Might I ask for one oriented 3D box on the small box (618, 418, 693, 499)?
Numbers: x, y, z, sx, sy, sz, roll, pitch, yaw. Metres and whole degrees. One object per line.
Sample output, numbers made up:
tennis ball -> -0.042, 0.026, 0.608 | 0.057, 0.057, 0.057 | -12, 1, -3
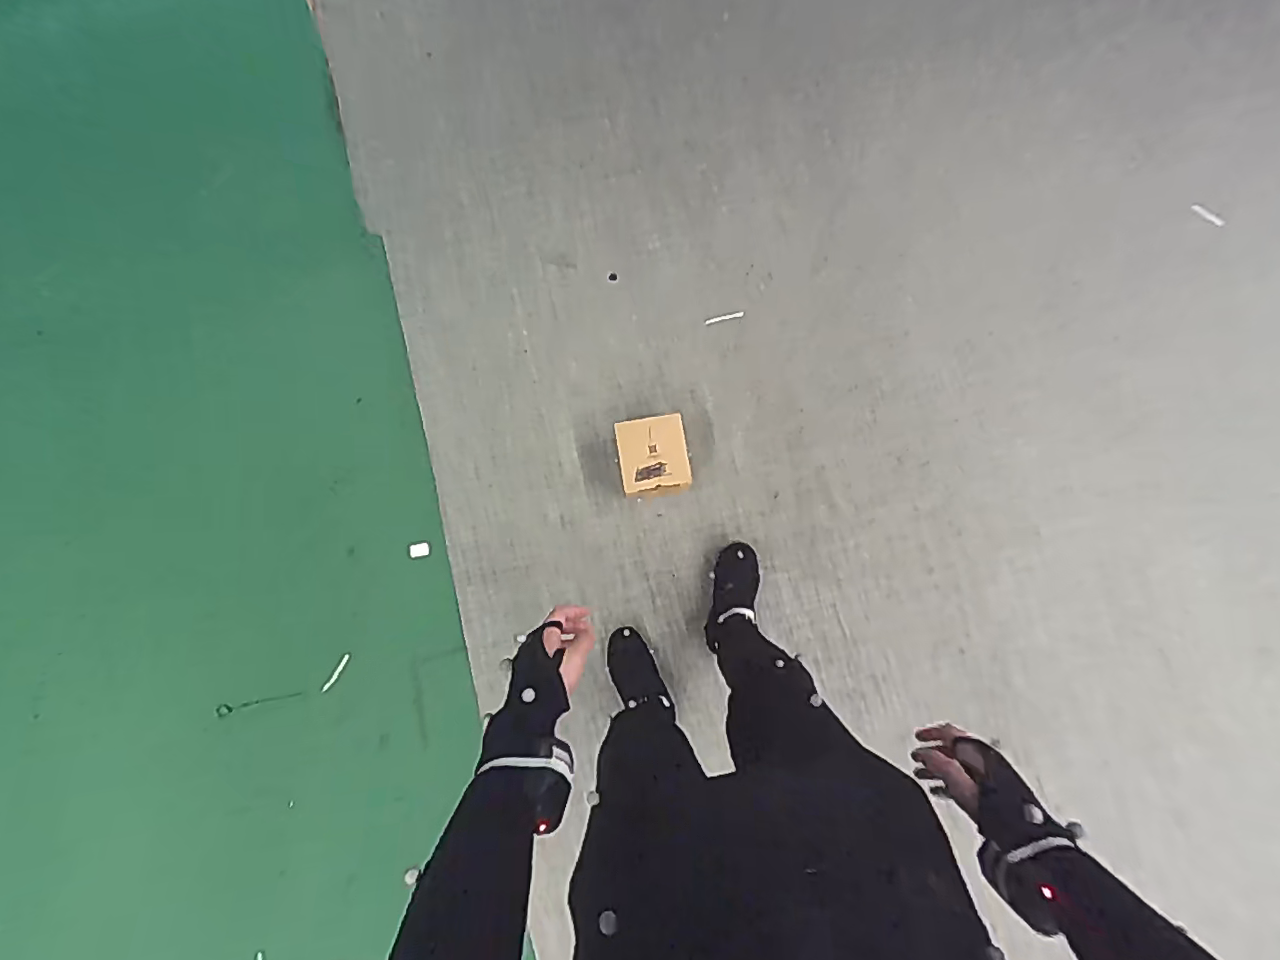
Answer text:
small box -> 0.038, -0.049, 1.396 | 0.168, 0.176, 0.179 | -9, 83, -2
